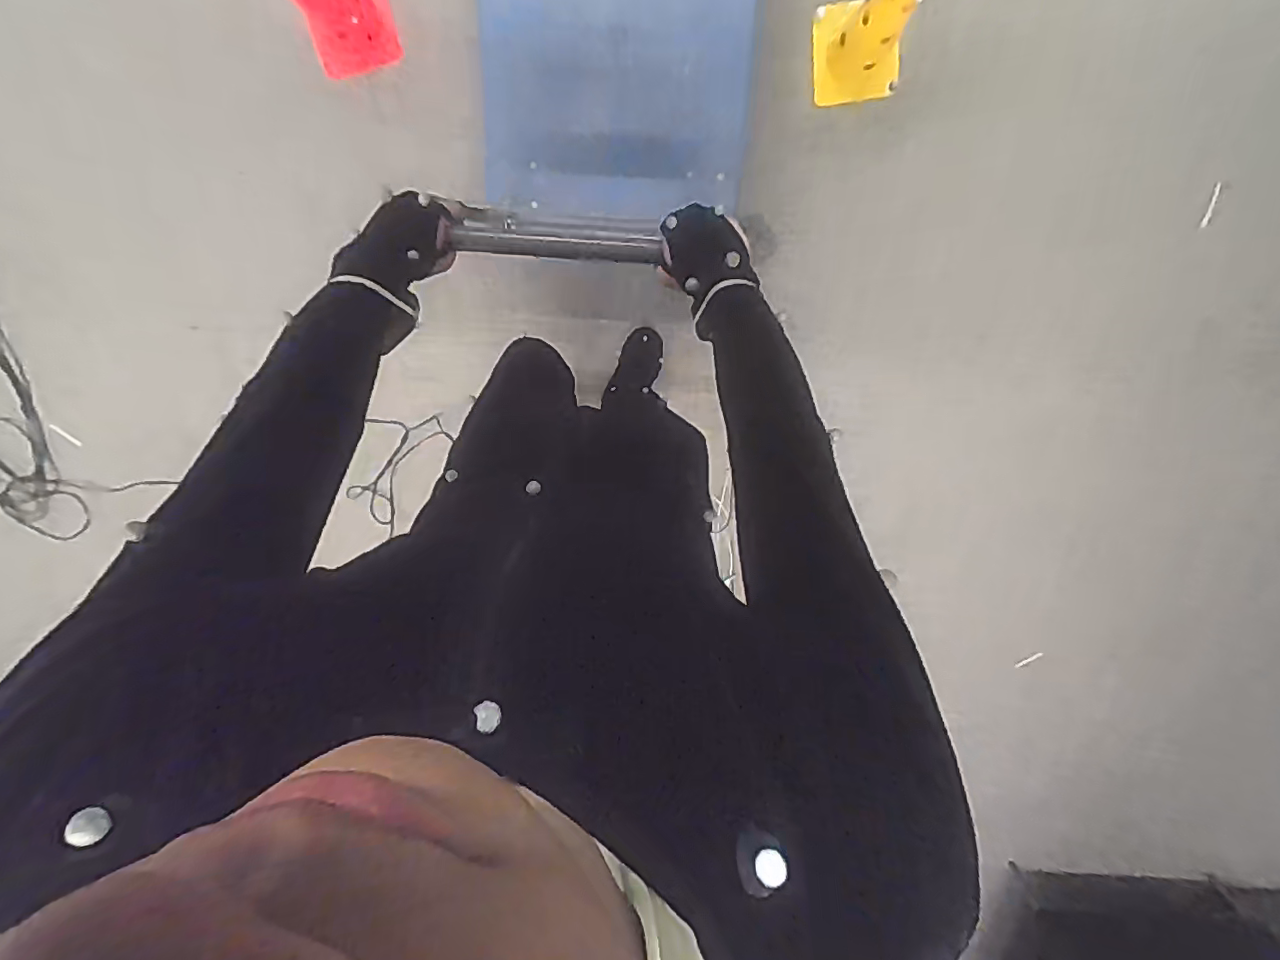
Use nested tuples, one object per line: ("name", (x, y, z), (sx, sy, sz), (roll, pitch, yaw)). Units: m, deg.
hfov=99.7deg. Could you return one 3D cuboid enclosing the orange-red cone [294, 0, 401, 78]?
("orange-red cone", (-0.680, -1.012, 1.103), (0.199, 0.360, 0.198), (-10, 109, 6))
